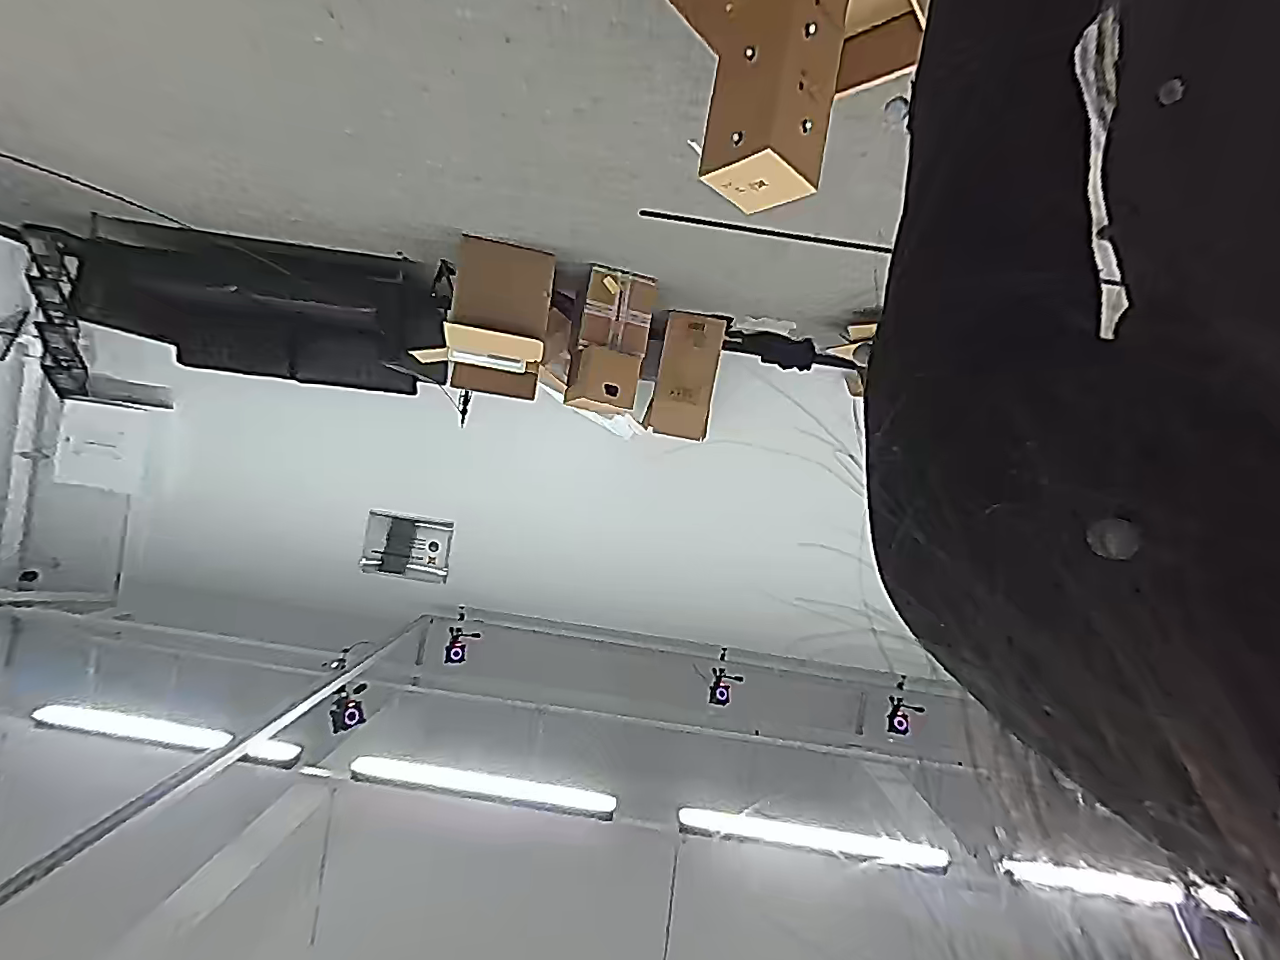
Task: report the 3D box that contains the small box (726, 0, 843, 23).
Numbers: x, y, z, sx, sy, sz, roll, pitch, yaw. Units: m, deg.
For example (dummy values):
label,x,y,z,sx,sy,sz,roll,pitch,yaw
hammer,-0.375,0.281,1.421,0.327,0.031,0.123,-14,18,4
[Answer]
label,x,y,z,sx,sy,sz,roll,pitch,yaw
small box,0.295,-0.993,1.049,0.179,0.176,0.168,9,-178,44

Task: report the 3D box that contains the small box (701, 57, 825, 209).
label,x,y,z,sx,sy,sz,roll,pitch,yaw
small box,0.244,-0.670,1.059,0.168,0.176,0.179,9,-179,-41

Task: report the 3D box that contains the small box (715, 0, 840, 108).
label,x,y,z,sx,sy,sz,roll,pitch,yaw
small box,0.273,-0.833,1.059,0.168,0.176,0.179,9,-178,-42
